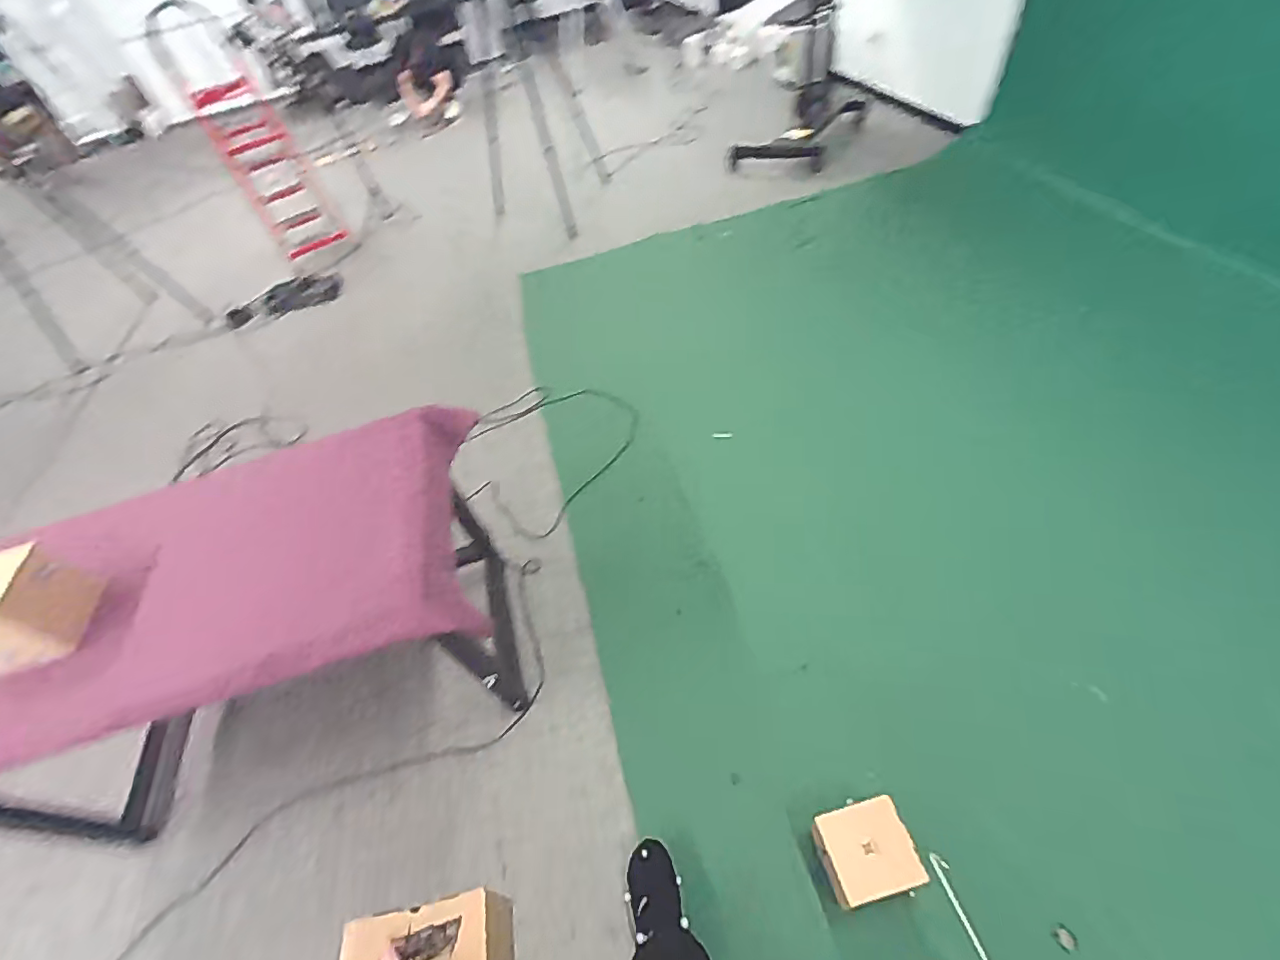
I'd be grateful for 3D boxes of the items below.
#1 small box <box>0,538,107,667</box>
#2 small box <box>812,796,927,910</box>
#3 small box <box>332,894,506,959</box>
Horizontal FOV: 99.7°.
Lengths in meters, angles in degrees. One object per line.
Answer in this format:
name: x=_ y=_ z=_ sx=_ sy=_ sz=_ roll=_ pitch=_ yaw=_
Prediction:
small box: x=-1.263 y=0.252 z=1.104 sx=0.168 sy=0.176 sz=0.179 roll=-17 pitch=50 yaw=-2
small box: x=0.497 y=0.835 z=1.206 sx=0.179 sy=0.176 sz=0.168 roll=-16 pitch=49 yaw=-3
small box: x=-0.258 y=0.627 z=0.645 sx=0.168 sy=0.176 sz=0.179 roll=-10 pitch=50 yaw=-7
